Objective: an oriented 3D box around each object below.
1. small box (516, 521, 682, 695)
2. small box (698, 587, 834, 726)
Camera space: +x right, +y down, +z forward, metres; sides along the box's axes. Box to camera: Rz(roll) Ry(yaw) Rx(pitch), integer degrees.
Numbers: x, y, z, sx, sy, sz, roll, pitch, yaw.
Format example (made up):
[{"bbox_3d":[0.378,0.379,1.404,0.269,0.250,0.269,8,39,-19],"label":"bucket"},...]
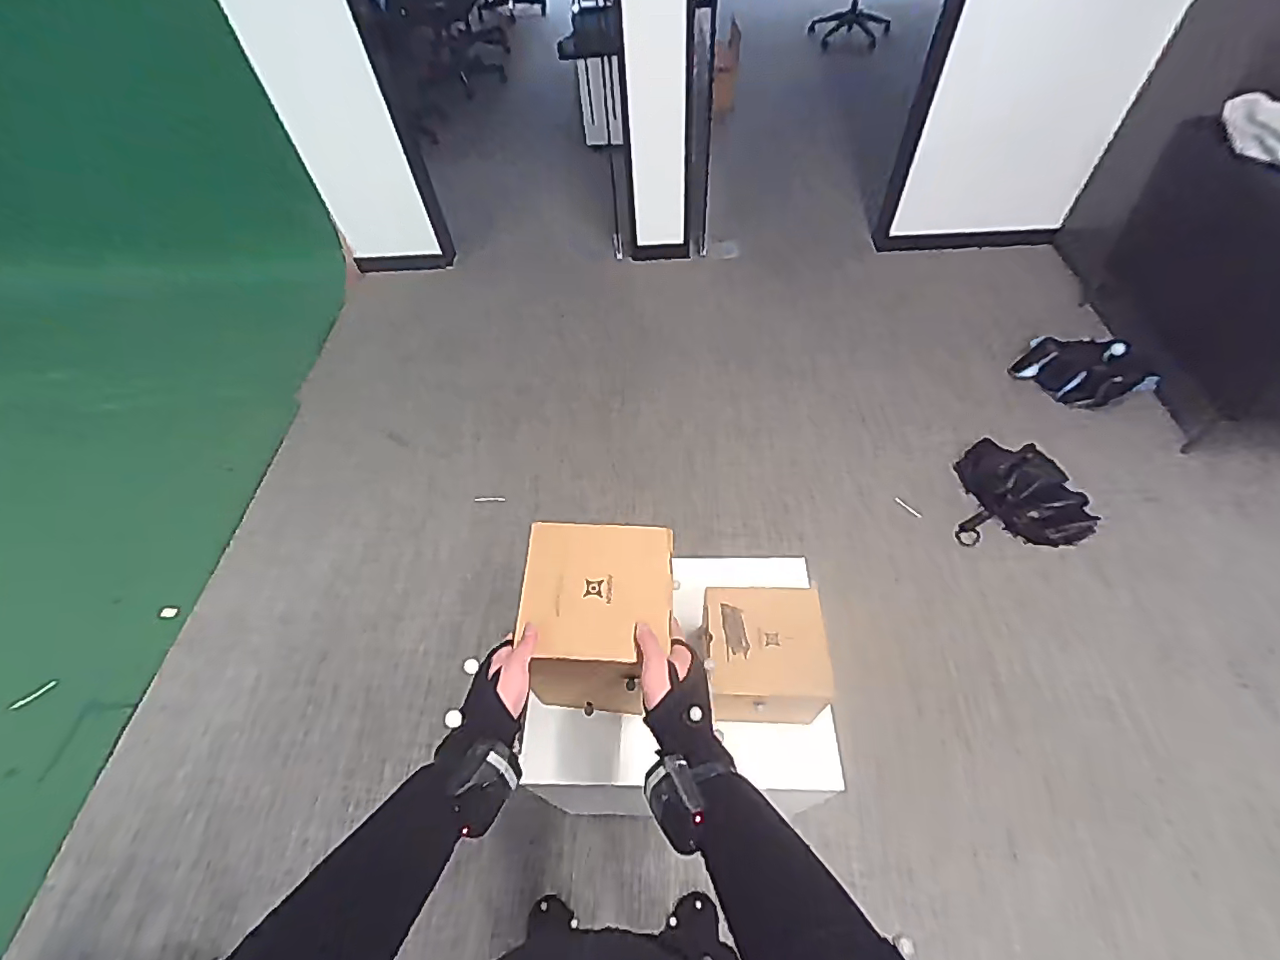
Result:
[{"bbox_3d":[-0.046,0.165,0.676,0.179,0.176,0.168,2,57,-1],"label":"small box"},{"bbox_3d":[0.183,0.283,0.854,0.179,0.176,0.168,1,53,1],"label":"small box"}]
